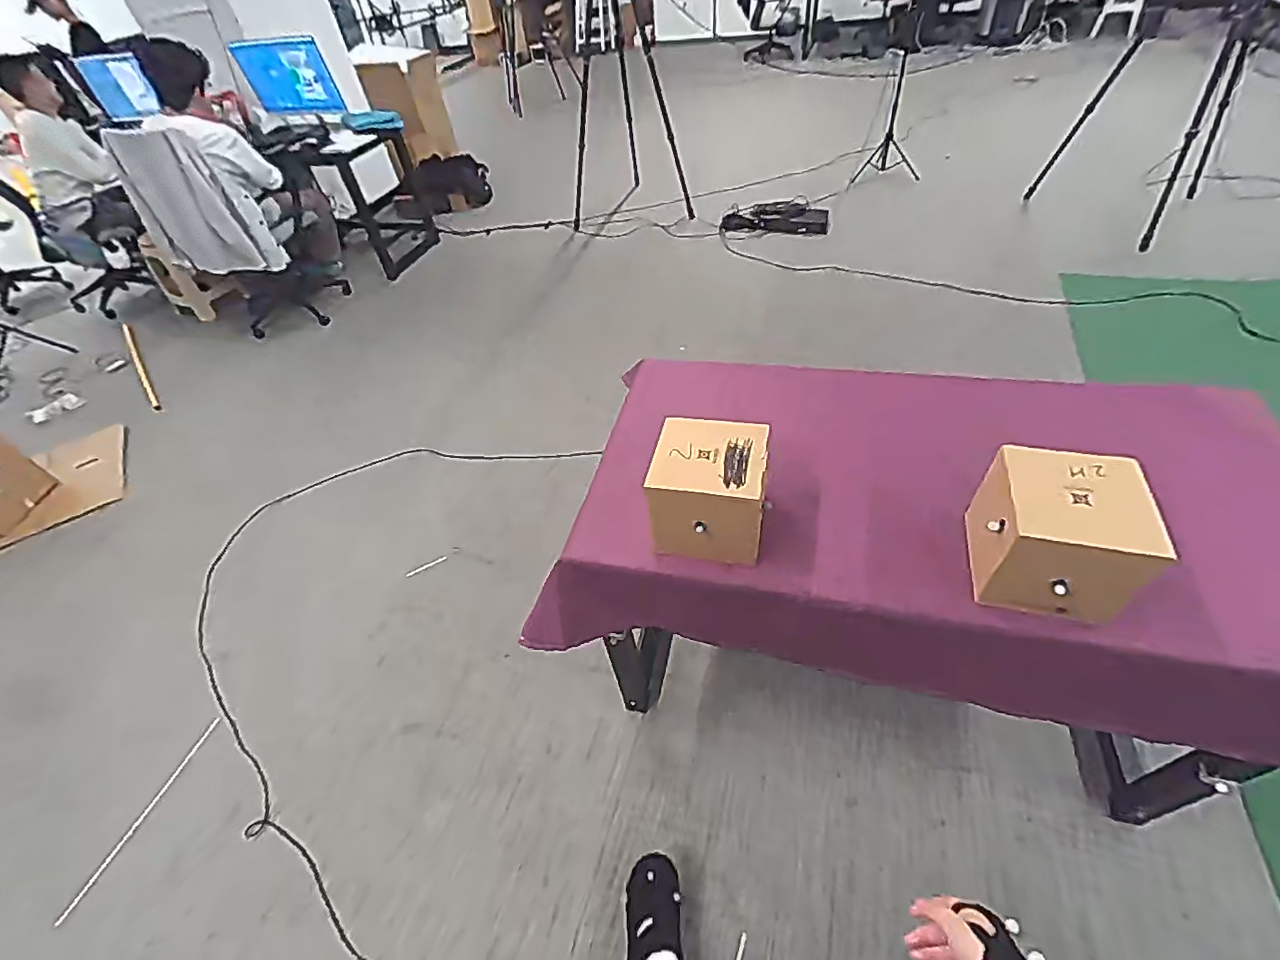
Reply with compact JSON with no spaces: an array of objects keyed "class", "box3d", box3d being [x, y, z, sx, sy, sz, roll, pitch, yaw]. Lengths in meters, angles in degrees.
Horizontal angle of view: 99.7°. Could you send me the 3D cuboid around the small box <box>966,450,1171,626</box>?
[{"class":"small box","box3d":[0.590,0.084,0.775,0.168,0.176,0.179,10,49,16]}]
